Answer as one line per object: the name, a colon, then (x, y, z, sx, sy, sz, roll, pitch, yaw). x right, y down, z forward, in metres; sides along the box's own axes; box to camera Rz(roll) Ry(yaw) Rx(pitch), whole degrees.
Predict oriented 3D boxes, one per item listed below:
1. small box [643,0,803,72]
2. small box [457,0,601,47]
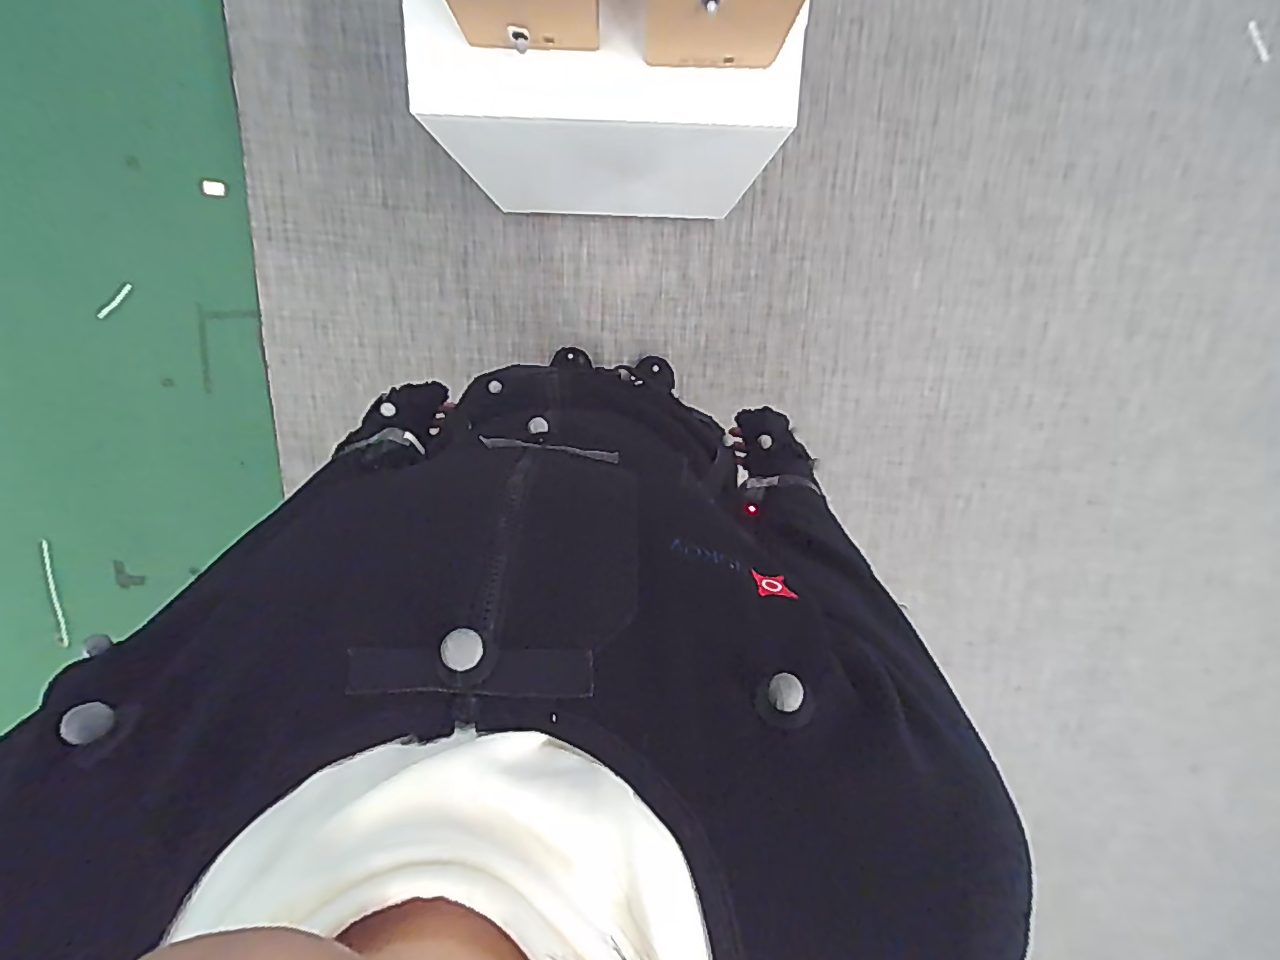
small box: (0.090, -0.599, 0.601, 0.168, 0.176, 0.179, 1, 103, -1)
small box: (-0.129, -0.611, 0.581, 0.168, 0.176, 0.179, -1, 105, 0)
